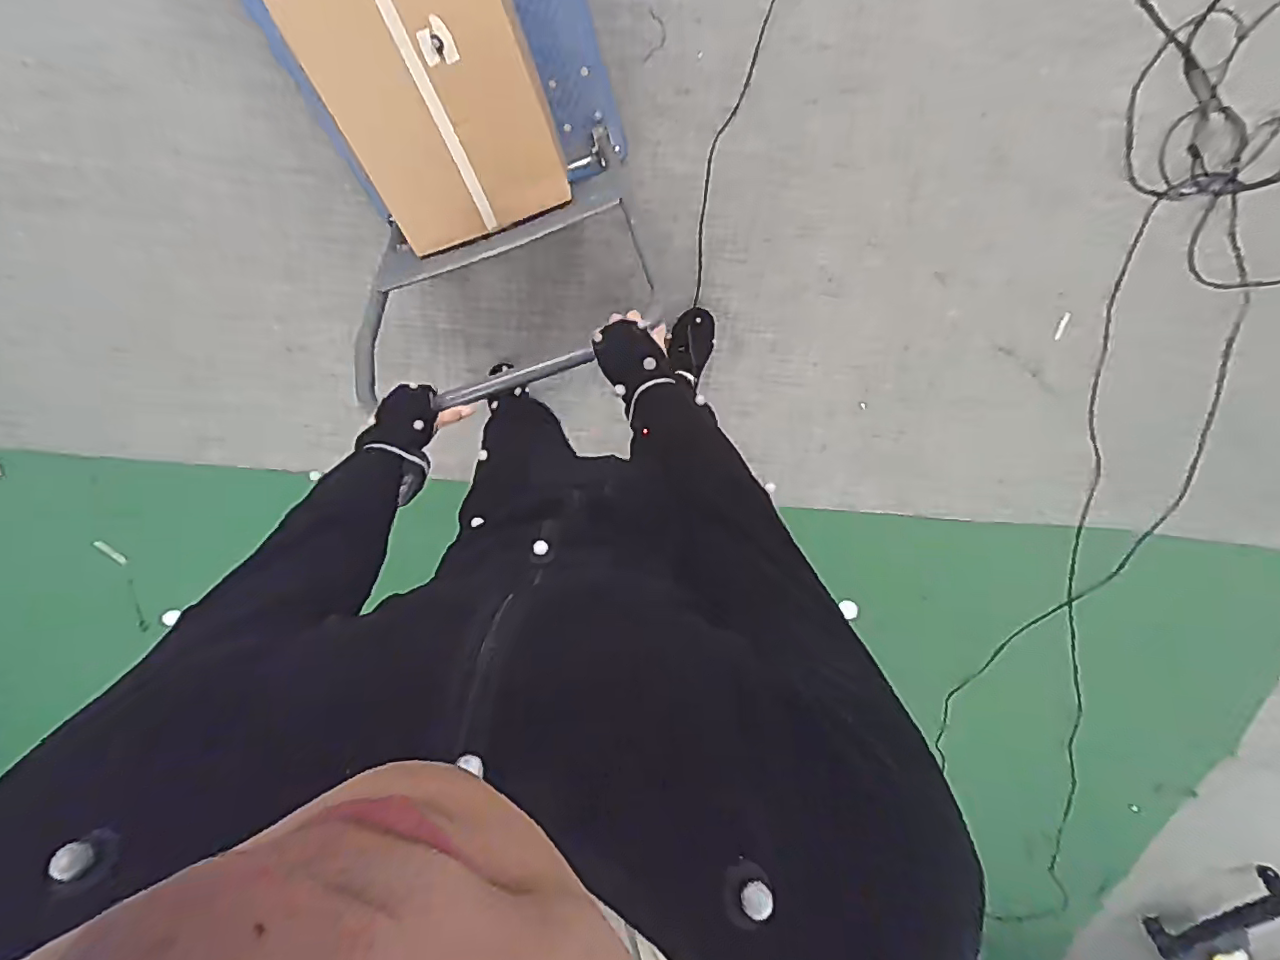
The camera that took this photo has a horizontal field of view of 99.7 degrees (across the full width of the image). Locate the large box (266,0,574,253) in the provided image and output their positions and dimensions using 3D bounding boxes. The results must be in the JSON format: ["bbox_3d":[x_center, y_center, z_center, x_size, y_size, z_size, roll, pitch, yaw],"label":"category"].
[{"bbox_3d":[-0.337,-0.696,0.958,0.320,0.320,0.408,-18,134,7],"label":"large box"}]
